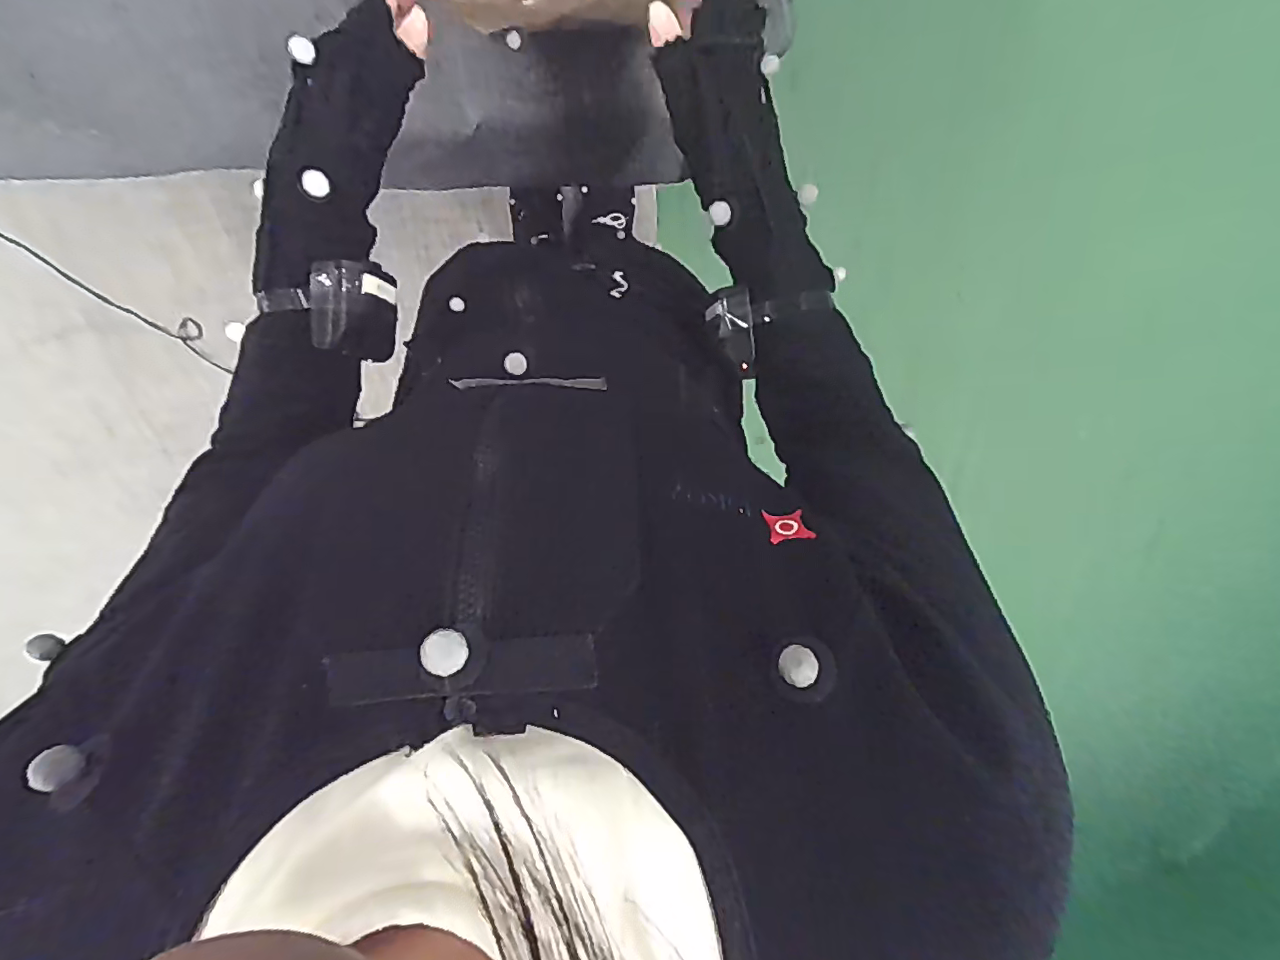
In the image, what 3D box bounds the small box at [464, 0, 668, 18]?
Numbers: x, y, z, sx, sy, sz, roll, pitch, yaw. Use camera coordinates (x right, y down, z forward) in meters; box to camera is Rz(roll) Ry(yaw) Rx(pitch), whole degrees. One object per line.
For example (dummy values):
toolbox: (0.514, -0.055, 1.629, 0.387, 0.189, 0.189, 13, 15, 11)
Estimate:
small box: (-0.058, -0.428, 0.354, 0.168, 0.176, 0.179, -2, 122, 1)
